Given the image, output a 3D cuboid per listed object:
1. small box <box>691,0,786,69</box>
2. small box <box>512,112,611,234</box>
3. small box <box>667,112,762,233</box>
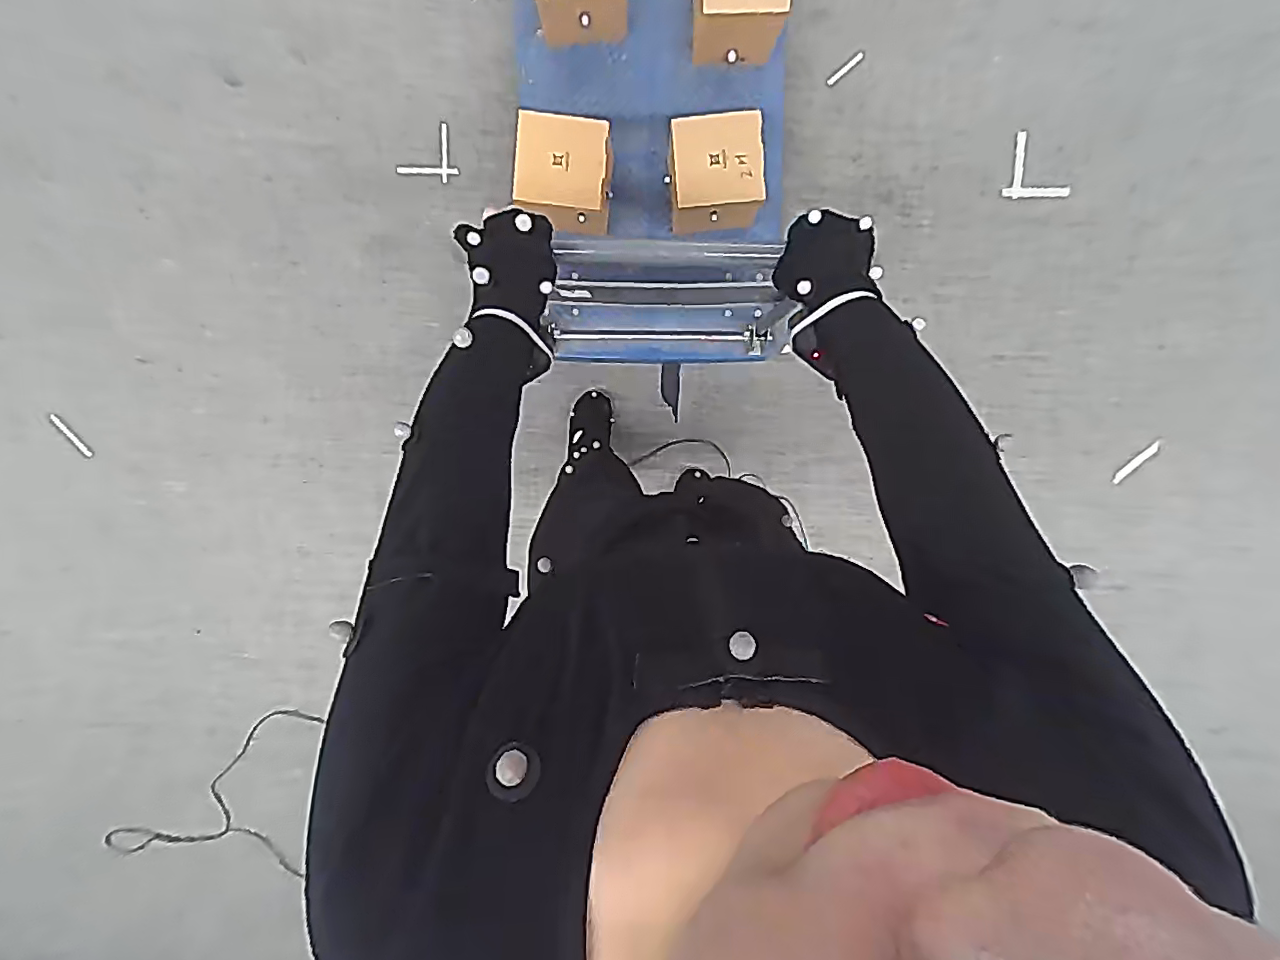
[{"bbox_3d":[0.192,-0.971,1.084,0.168,0.176,0.179,-1,99,0],"label":"small box"},{"bbox_3d":[-0.158,-0.631,1.132,0.179,0.176,0.168,6,98,-2],"label":"small box"},{"bbox_3d":[0.149,-0.632,1.132,0.179,0.176,0.168,-5,98,1],"label":"small box"}]
